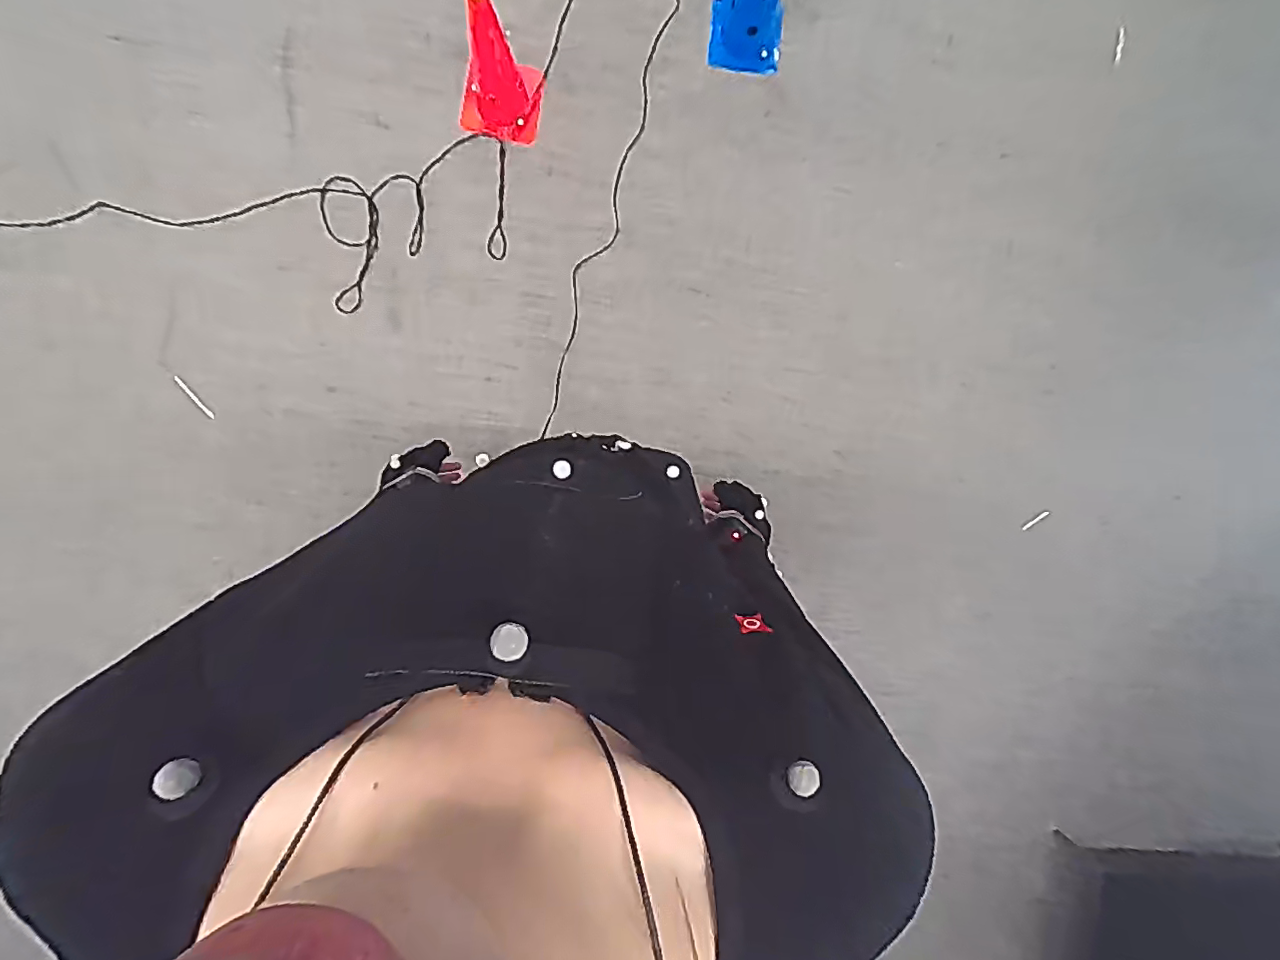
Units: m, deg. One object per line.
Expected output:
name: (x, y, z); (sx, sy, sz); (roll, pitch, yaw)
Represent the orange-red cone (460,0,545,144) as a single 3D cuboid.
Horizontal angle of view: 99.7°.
orange-red cone: (-0.345, -1.003, 1.260); (0.198, 0.360, 0.199); (11, 91, -6)
